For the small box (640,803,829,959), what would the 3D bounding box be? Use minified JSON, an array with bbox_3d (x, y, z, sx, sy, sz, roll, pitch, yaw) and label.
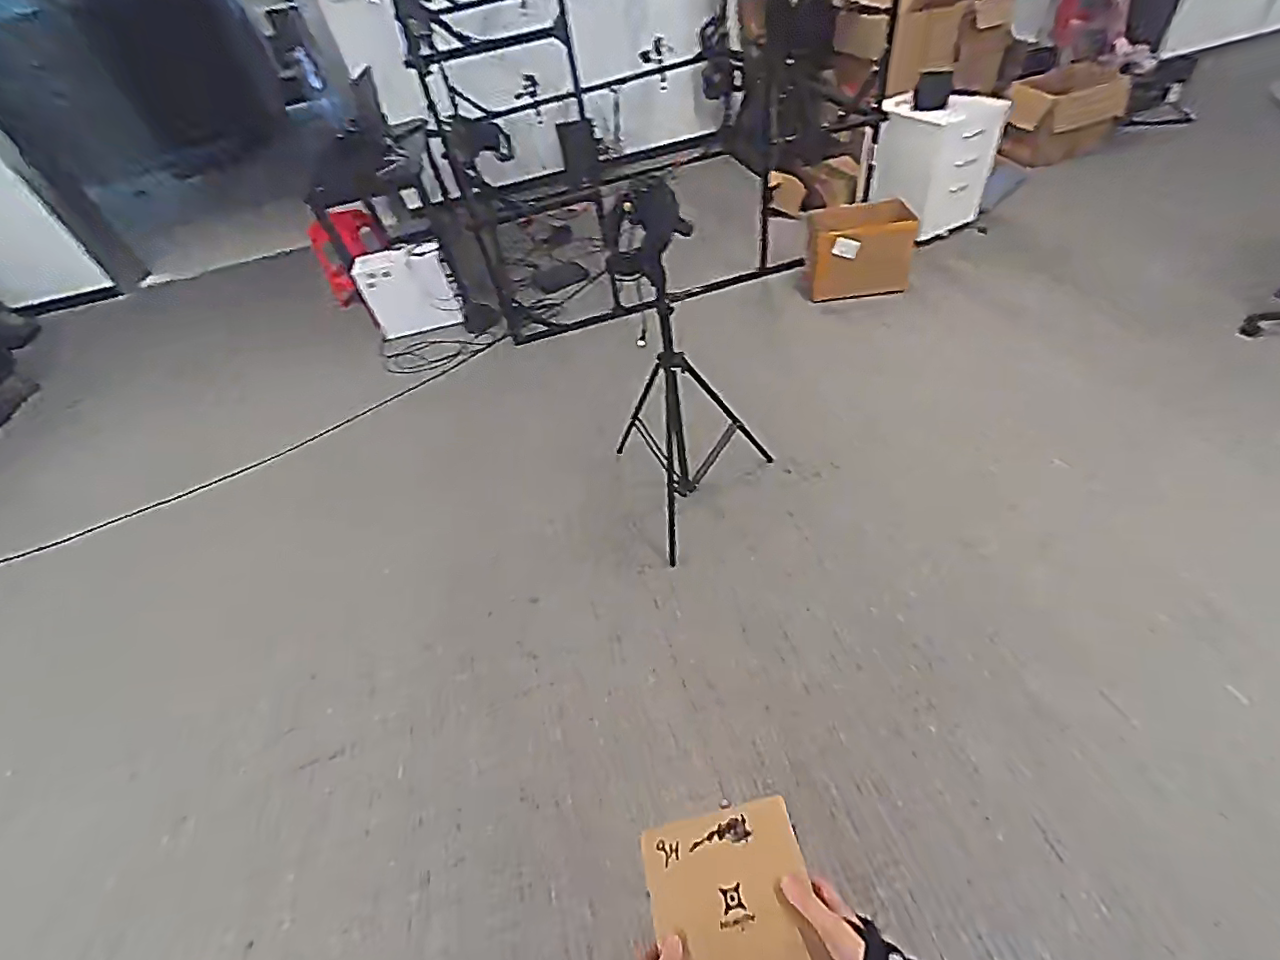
[{"bbox_3d":[0.106,0.490,0.601,0.168,0.176,0.179,-14,47,-1],"label":"small box"}]
